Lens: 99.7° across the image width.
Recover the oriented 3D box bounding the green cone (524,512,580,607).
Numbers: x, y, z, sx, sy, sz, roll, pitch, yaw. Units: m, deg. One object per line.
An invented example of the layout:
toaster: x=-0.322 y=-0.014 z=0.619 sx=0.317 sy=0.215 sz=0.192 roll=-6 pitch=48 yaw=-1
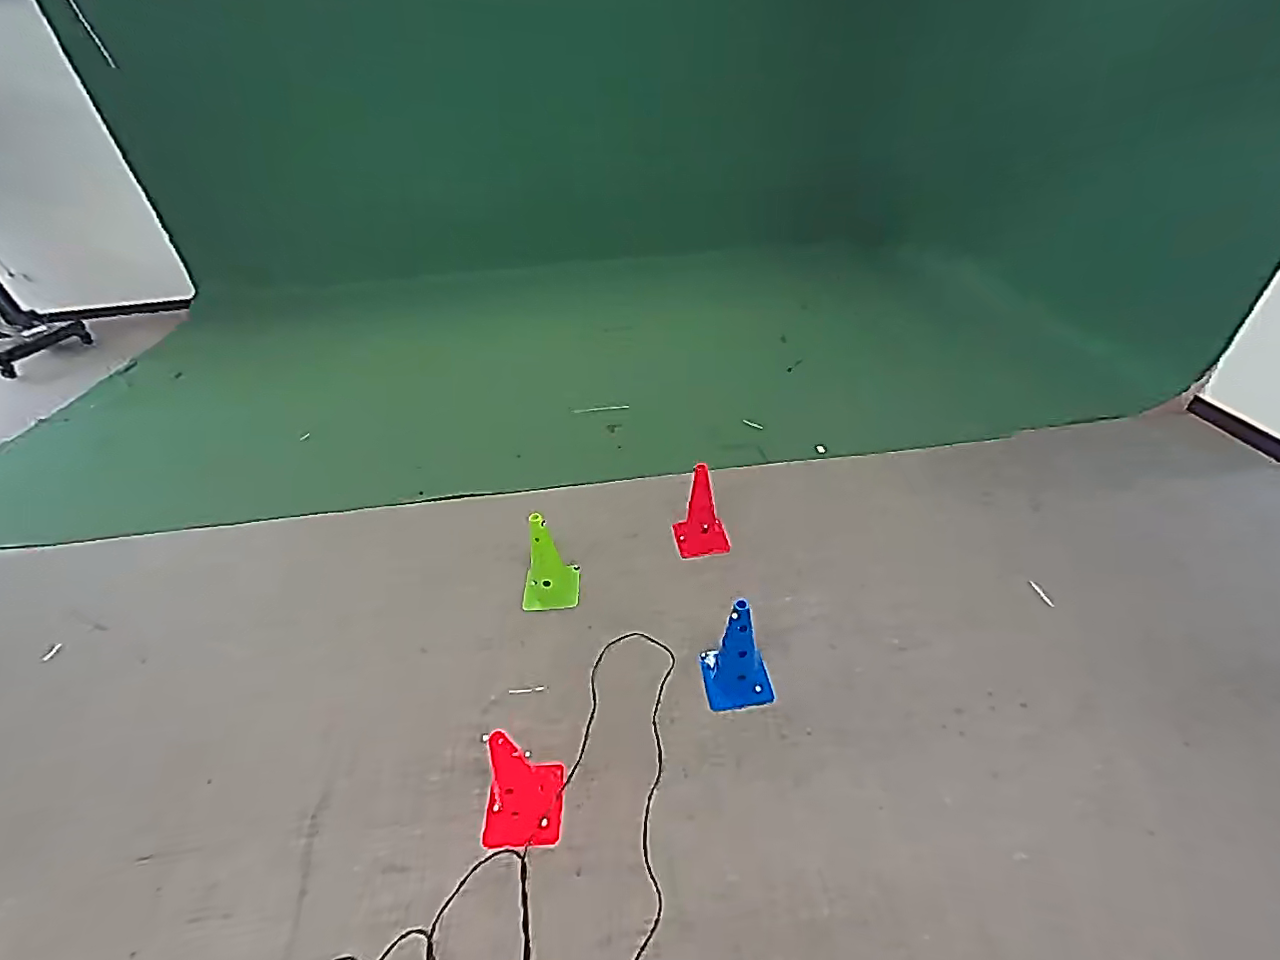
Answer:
green cone: x=-0.334 y=0.252 z=1.888 sx=0.200 sy=0.368 sz=0.202 roll=-5 pitch=39 yaw=0

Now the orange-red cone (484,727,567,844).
orange-red cone: x=-0.305 y=0.707 z=1.316 sx=0.198 sy=0.360 sz=0.199 roll=-3 pitch=37 yaw=1
